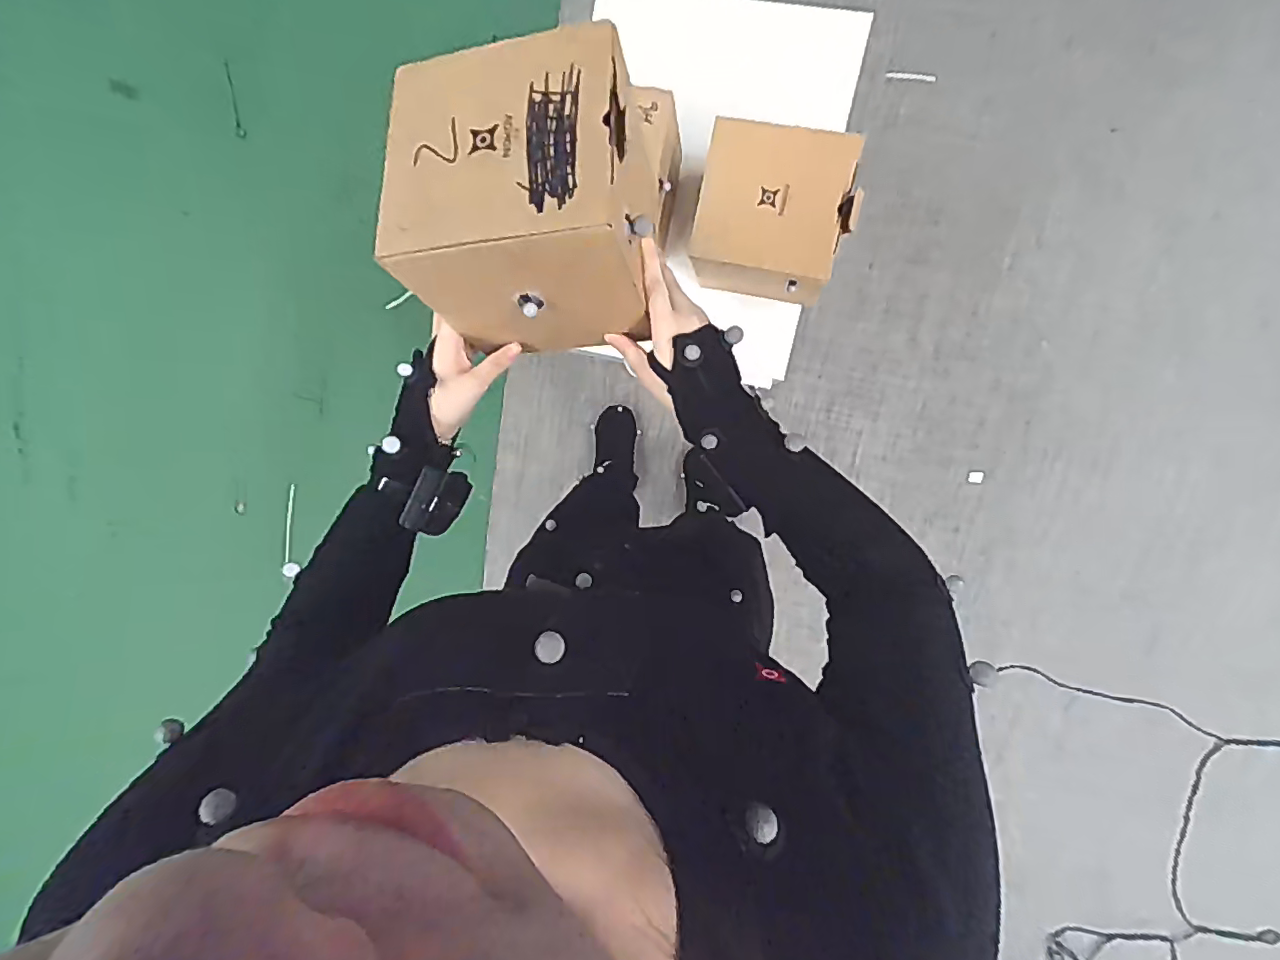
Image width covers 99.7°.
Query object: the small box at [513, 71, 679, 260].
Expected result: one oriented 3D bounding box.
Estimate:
[{"bbox_3d":[-0.051,-0.416,0.742,0.179,0.176,0.168,12,101,7],"label":"small box"}]
